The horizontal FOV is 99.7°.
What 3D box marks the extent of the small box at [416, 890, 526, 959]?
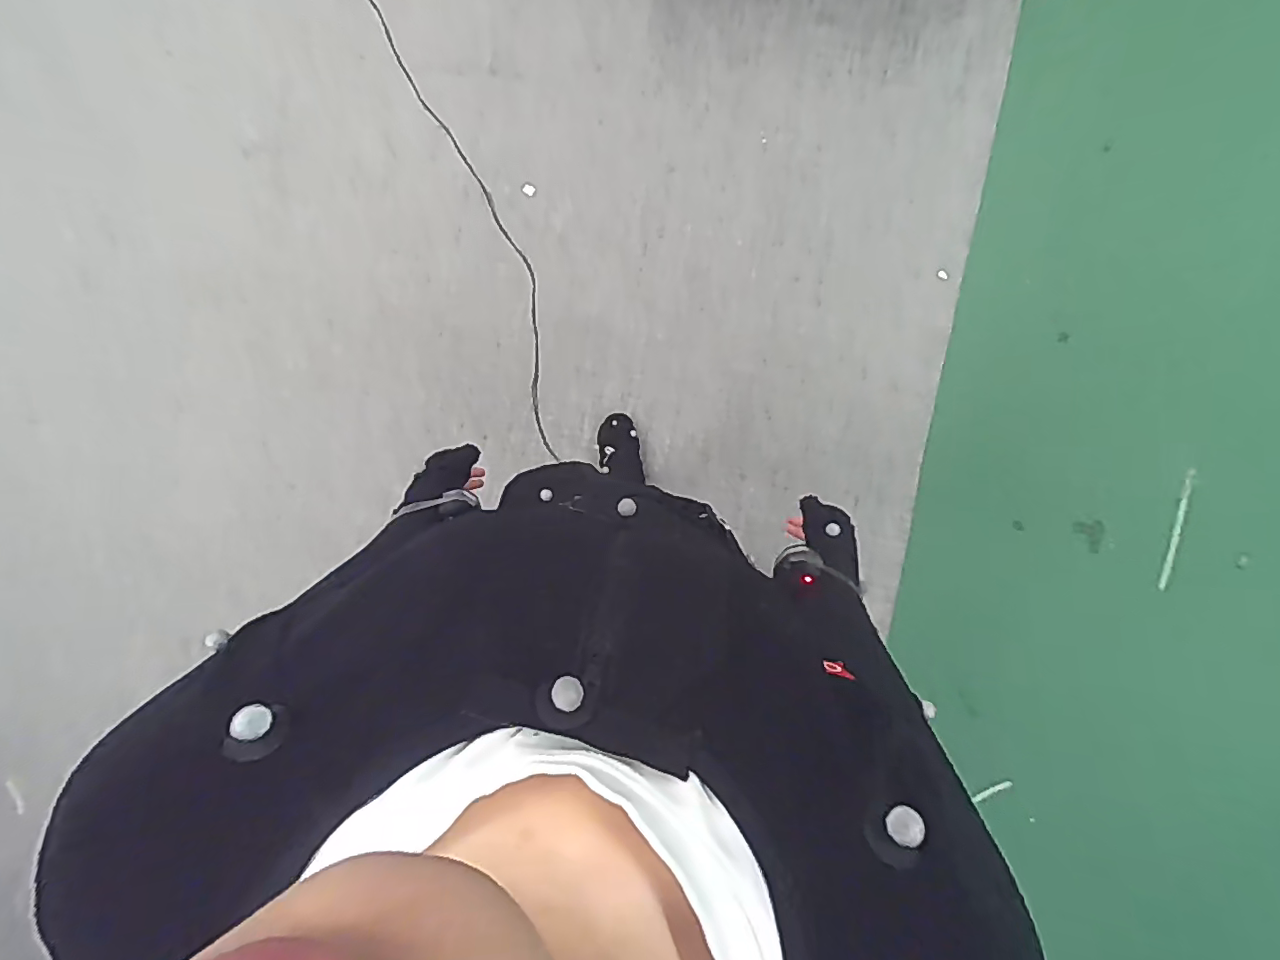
[{"bbox_3d":[-0.326,0.920,1.001,0.168,0.176,0.179,17,94,5],"label":"small box"}]
